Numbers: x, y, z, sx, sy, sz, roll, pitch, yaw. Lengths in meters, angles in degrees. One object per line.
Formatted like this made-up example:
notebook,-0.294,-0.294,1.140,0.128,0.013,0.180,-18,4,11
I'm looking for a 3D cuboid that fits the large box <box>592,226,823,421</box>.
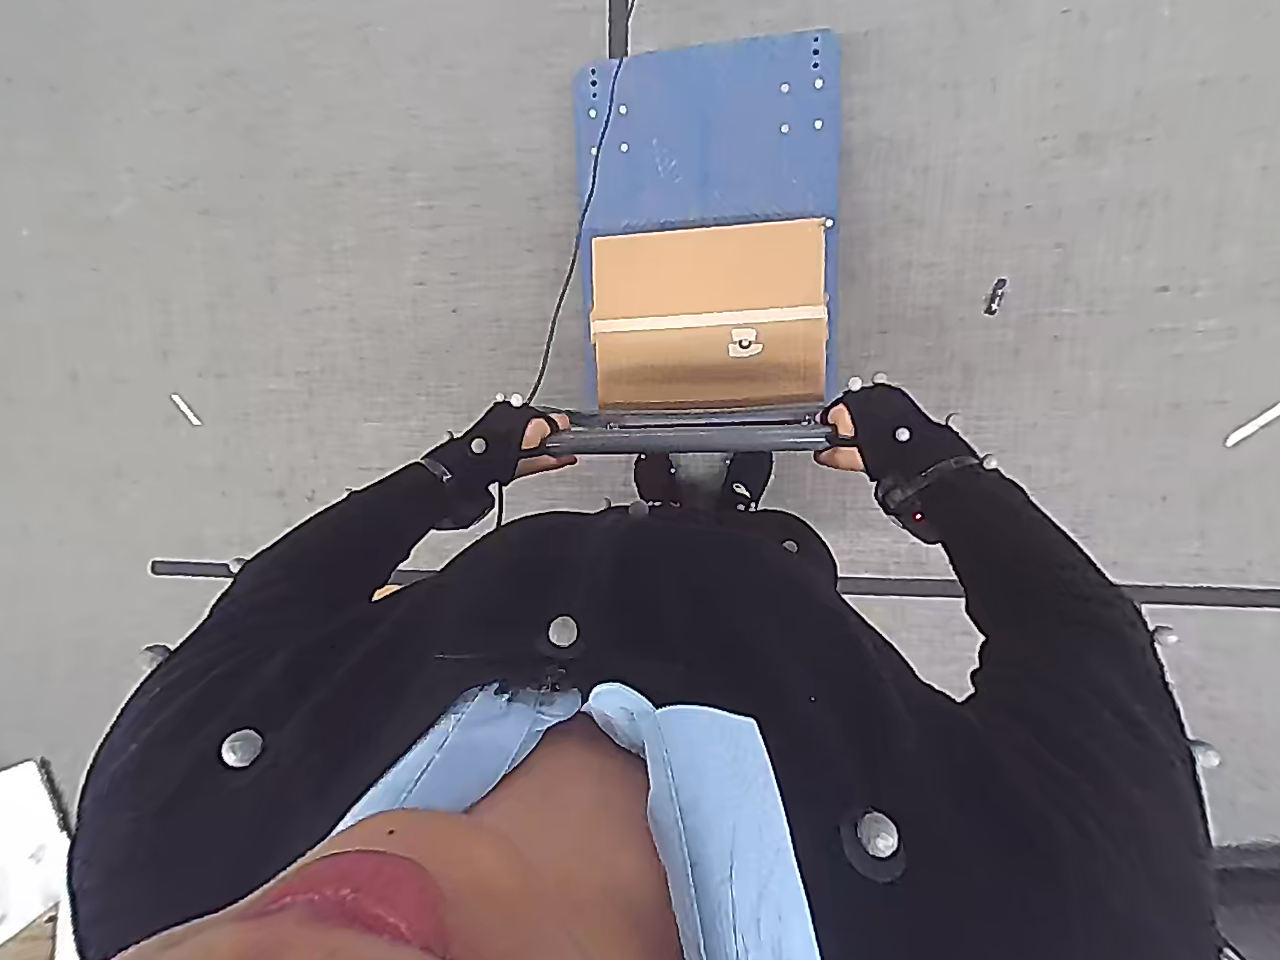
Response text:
large box,0.134,-0.286,1.102,0.408,0.320,0.320,-1,97,8
